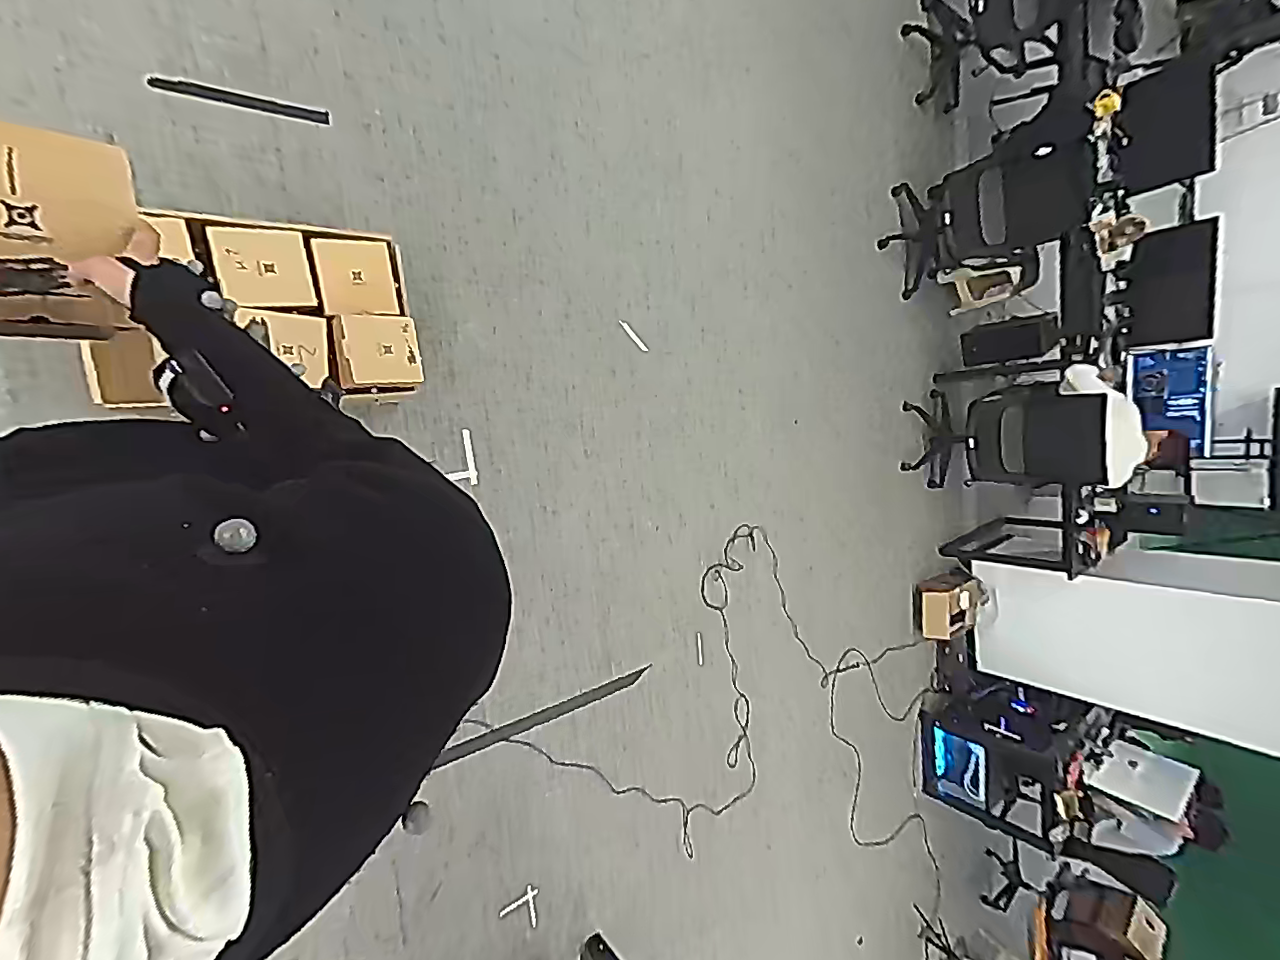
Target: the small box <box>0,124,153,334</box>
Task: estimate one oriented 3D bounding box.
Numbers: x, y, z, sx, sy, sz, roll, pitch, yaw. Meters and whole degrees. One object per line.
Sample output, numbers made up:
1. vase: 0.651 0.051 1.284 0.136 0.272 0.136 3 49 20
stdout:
1. small box: -0.621 -0.245 0.545 0.168 0.176 0.179 -13 111 -46
